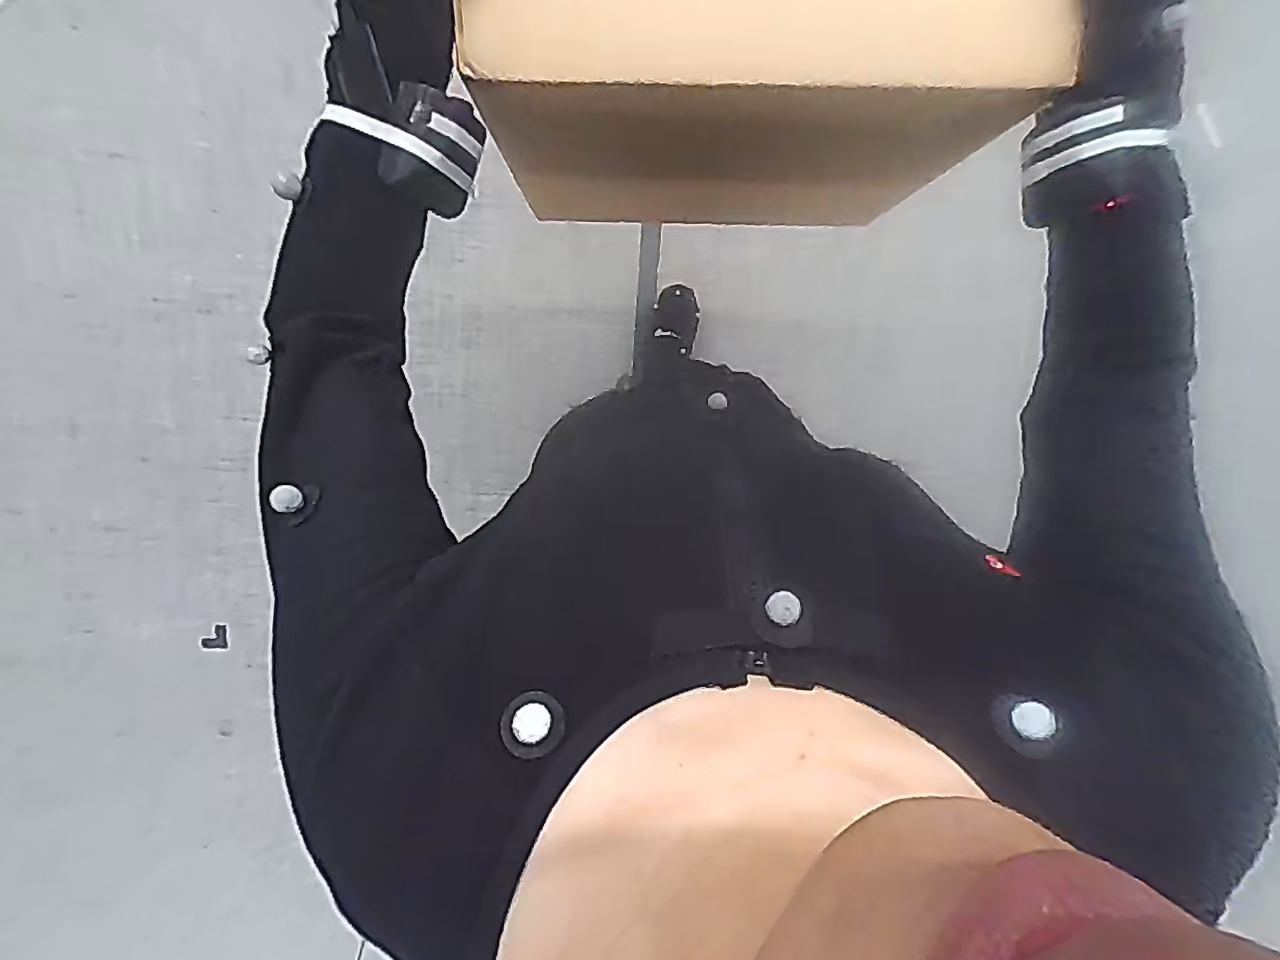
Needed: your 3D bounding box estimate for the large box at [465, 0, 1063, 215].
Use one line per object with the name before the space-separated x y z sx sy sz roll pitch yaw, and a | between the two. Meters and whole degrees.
large box | 0.077 -0.449 0.483 0.408 0.320 0.320 0 100 -2
